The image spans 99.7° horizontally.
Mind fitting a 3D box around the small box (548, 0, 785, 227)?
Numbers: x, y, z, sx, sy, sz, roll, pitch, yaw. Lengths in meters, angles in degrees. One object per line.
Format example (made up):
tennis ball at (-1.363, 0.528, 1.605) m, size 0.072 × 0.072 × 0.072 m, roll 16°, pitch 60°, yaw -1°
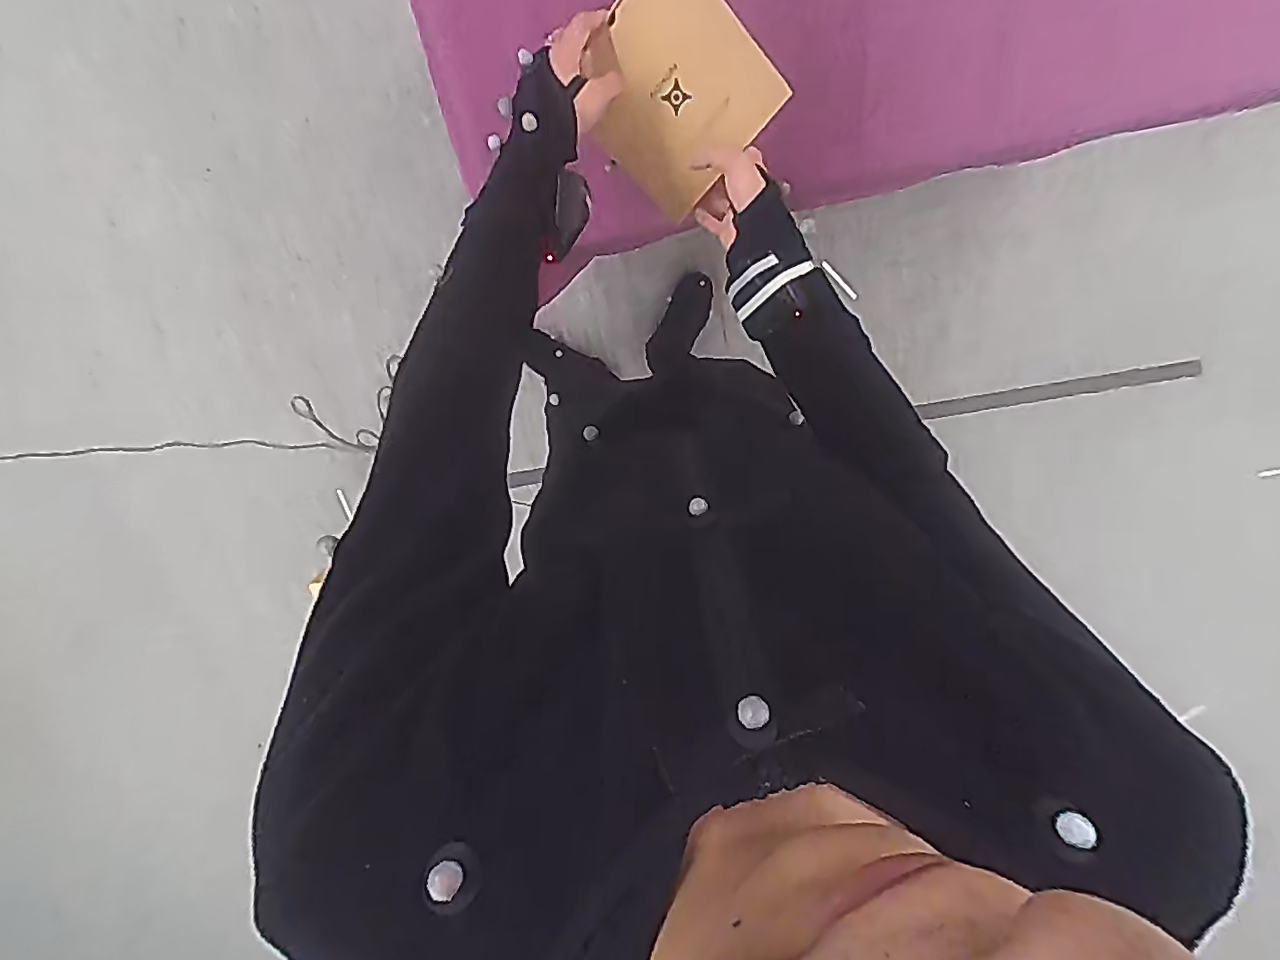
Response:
small box at (0.024, -0.414, 0.594) m, size 0.179 × 0.176 × 0.168 m, roll 38°, pitch 115°, yaw -23°
